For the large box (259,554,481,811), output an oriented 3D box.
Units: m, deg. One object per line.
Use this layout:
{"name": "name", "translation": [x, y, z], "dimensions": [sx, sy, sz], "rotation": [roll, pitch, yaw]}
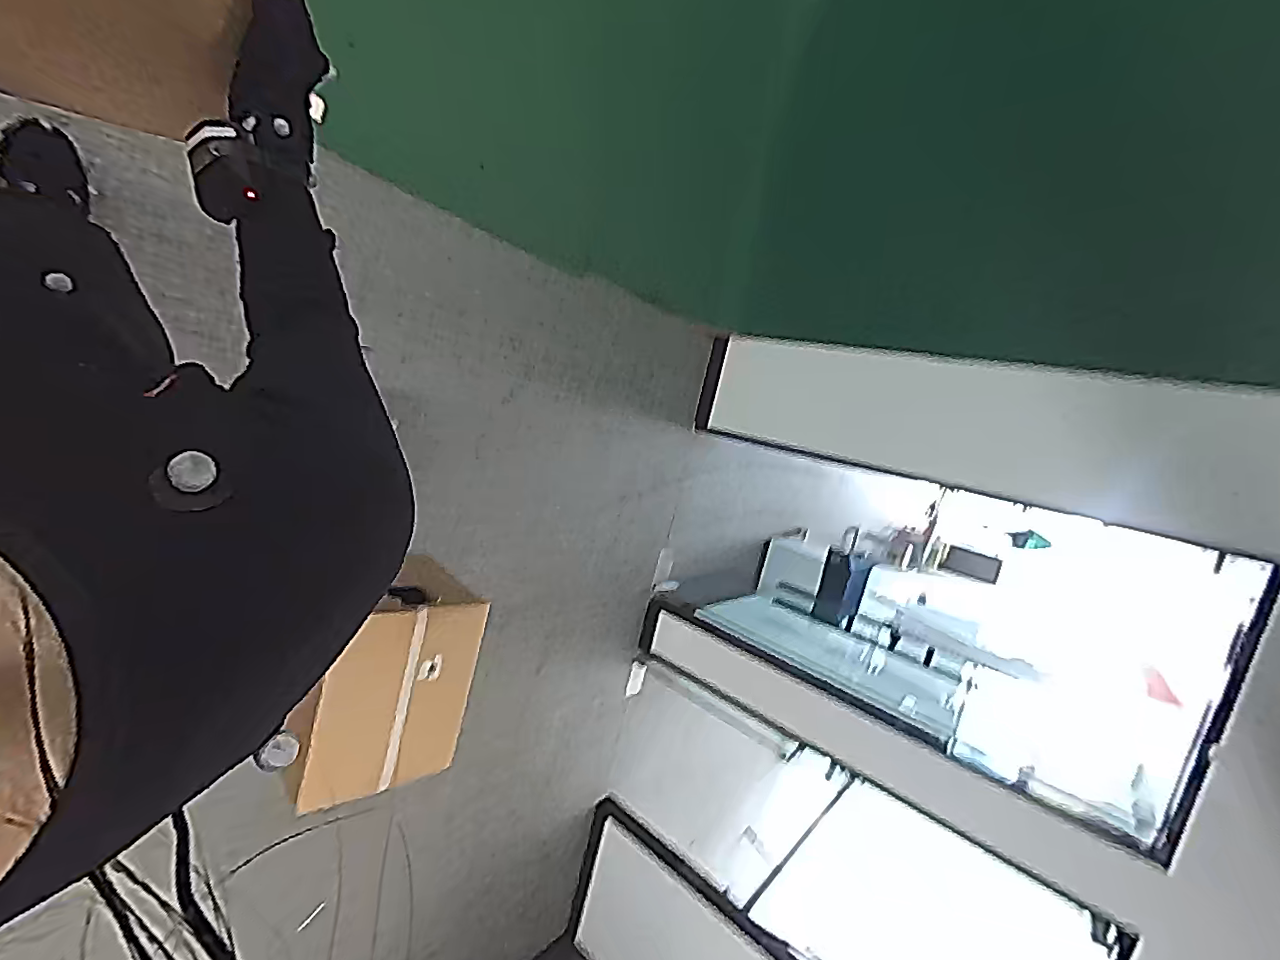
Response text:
{"name": "large box", "translation": [-0.597, 0.402, 1.184], "dimensions": [0.320, 0.320, 0.408], "rotation": [9, 97, -47]}
